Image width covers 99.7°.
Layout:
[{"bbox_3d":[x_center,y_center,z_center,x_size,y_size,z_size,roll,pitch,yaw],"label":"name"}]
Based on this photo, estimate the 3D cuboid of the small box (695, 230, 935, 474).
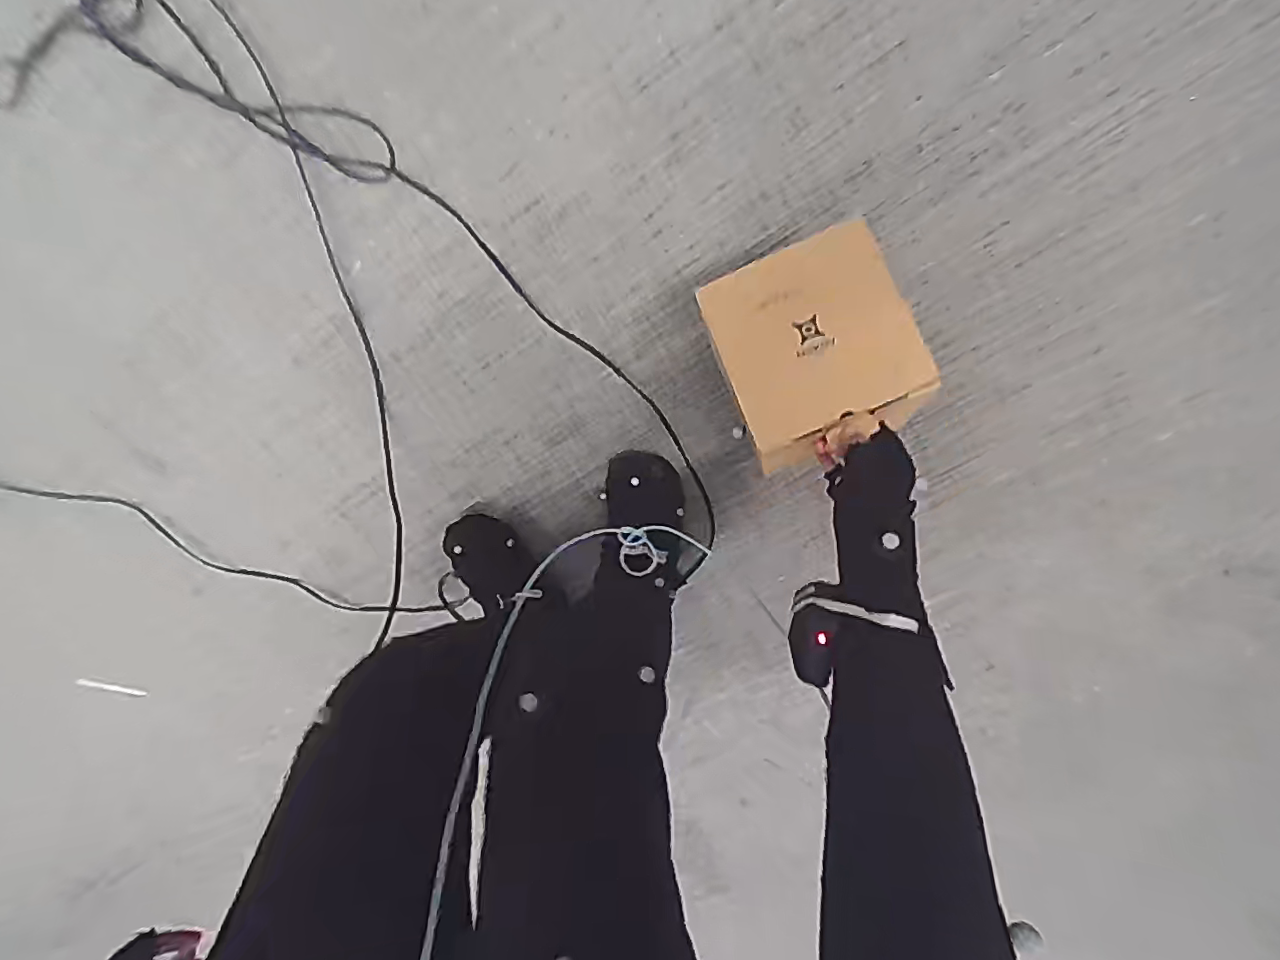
[{"bbox_3d":[0.173,-0.113,0.569,0.168,0.176,0.179,-22,78,11],"label":"small box"}]
